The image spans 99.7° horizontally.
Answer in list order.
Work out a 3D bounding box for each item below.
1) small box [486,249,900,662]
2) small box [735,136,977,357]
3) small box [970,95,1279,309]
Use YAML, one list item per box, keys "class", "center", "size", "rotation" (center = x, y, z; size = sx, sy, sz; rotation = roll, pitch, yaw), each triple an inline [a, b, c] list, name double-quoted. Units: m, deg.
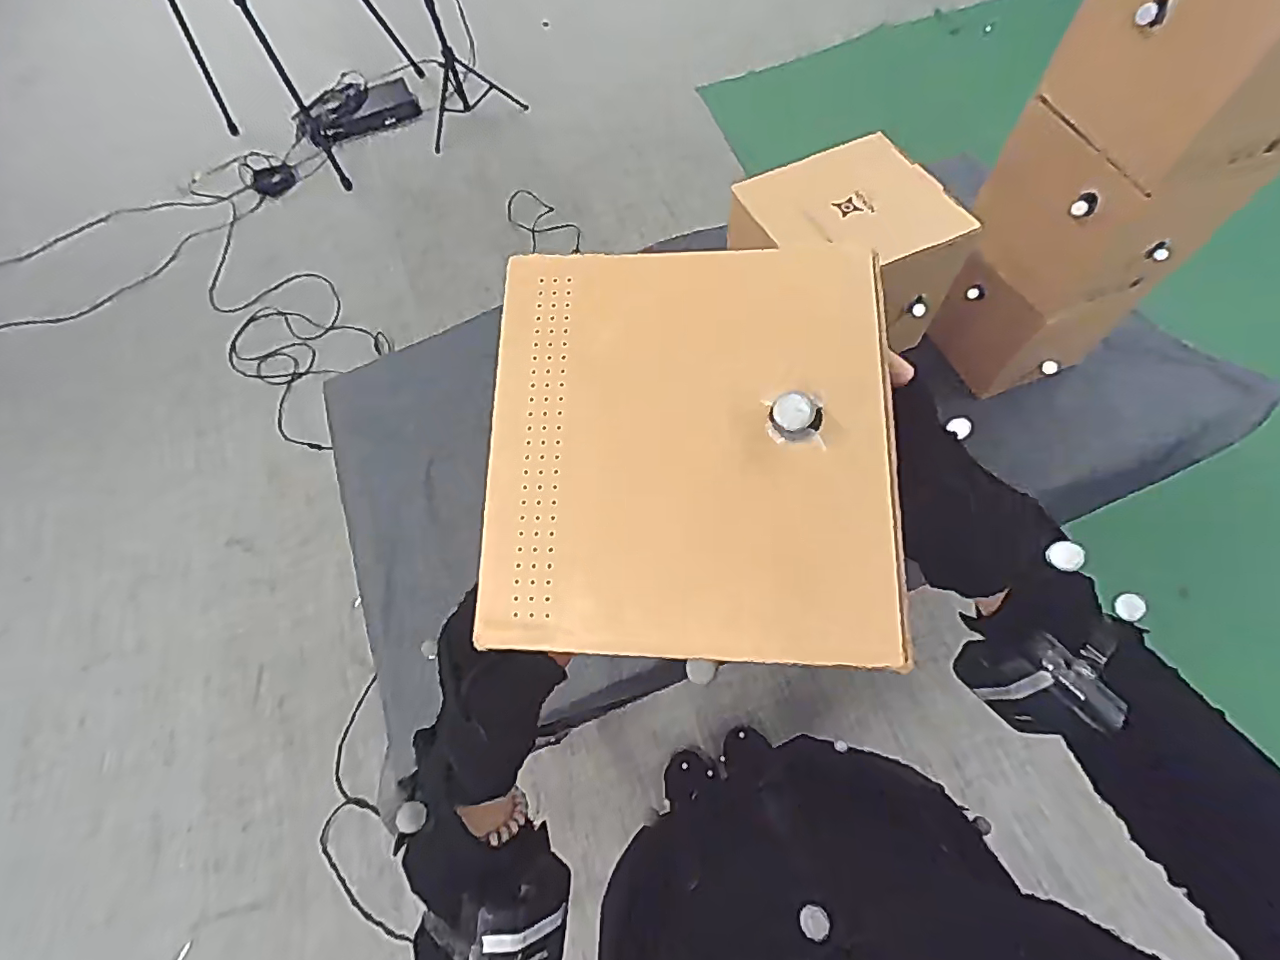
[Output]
- class: "small box"
  center: [0.026, 0.000, 0.303]
  size: [0.176, 0.168, 0.179]
  rotation: [0, 77, 6]
- class: "small box"
  center: [0.210, -0.227, 0.595]
  size: [0.179, 0.176, 0.168]
  rotation: [-23, 64, -5]
- class: "small box"
  center: [0.518, -0.317, 0.607]
  size: [0.168, 0.176, 0.179]
  rotation: [-19, 64, -3]
